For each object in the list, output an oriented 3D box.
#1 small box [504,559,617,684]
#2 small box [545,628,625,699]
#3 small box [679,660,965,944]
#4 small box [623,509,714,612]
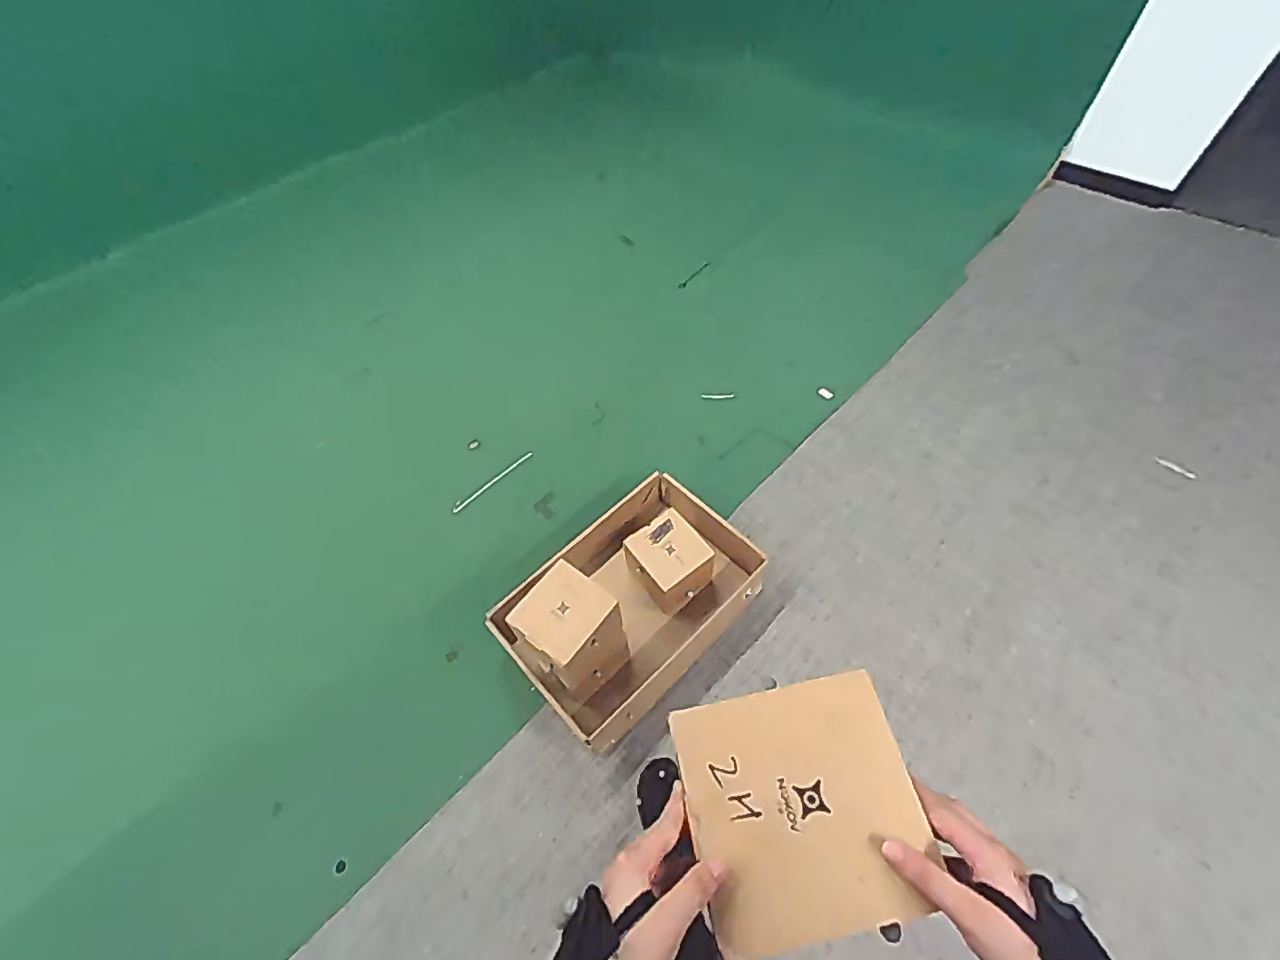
[{"bbox_3d":[-0.160,0.311,1.170,0.168,0.176,0.179,32,61,20],"label":"small box"},{"bbox_3d":[-0.150,0.400,1.308,0.179,0.176,0.168,-38,63,-20],"label":"small box"},{"bbox_3d":[0.137,0.276,0.484,0.179,0.176,0.168,-12,58,-1],"label":"small box"},{"bbox_3d":[0.071,0.215,1.422,0.168,0.176,0.179,-33,62,-17],"label":"small box"}]
